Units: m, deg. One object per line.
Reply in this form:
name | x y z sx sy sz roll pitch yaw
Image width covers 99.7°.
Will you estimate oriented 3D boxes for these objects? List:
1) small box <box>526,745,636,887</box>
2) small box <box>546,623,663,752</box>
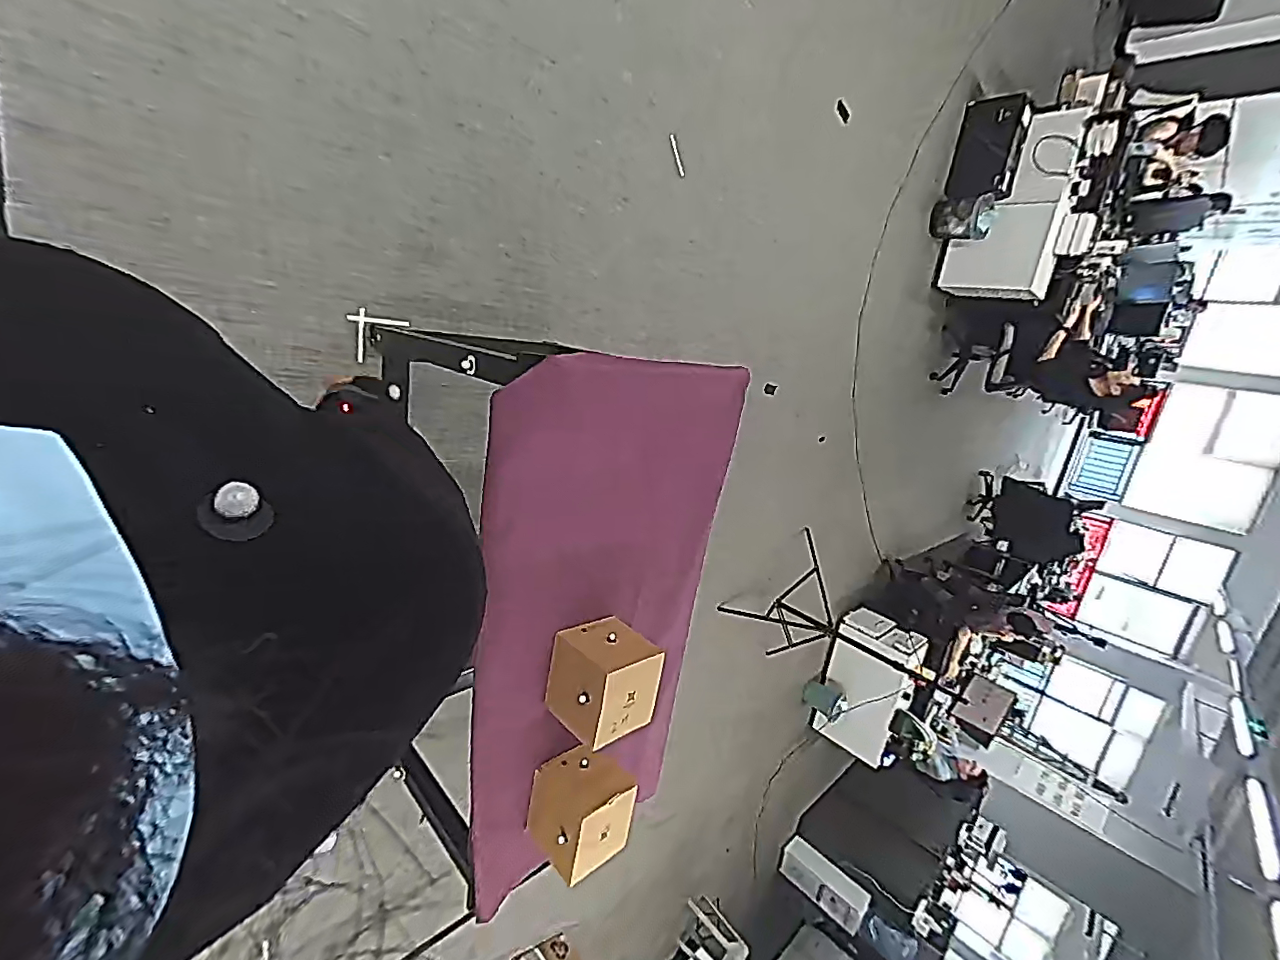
small box | -0.137 0.740 1.212 0.168 0.176 0.179 -2 107 -47
small box | -0.079 0.418 1.133 0.168 0.176 0.179 -2 108 -46
